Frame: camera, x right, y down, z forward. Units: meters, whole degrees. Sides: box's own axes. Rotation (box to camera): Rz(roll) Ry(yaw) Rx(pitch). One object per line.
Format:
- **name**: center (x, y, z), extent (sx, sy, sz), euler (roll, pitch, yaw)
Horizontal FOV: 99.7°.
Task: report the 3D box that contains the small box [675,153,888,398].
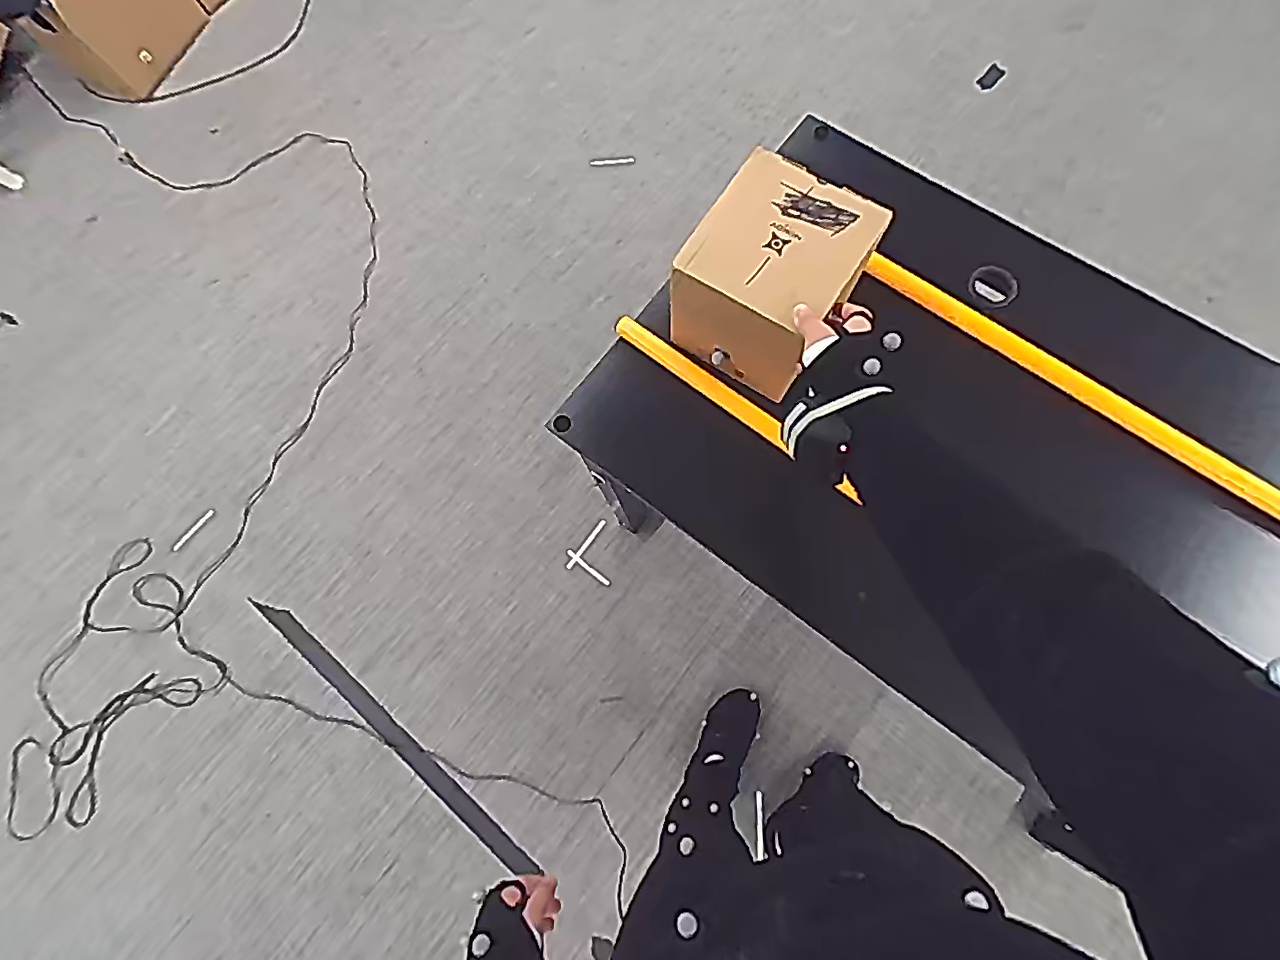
- **small box**: center (0.153, -0.230, 0.645), extent (0.168, 0.176, 0.179), euler (33, 81, 11)
